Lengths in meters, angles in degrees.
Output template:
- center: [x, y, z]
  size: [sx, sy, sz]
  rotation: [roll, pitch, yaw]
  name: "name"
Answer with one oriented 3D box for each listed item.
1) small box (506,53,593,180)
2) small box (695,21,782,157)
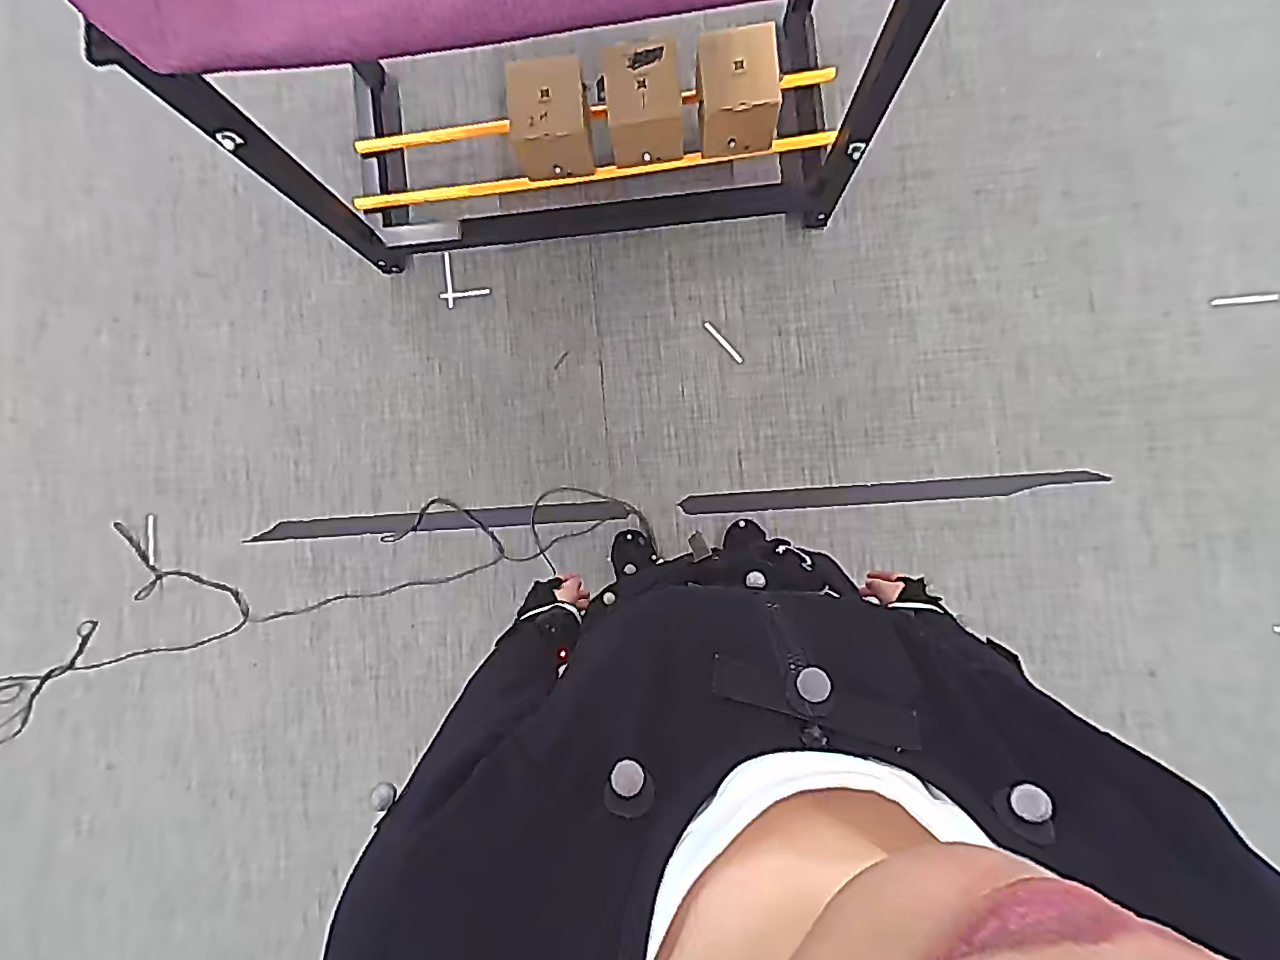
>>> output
- center: [-0.203, -0.828, 1.246]
  size: [0.168, 0.176, 0.179]
  rotation: [-4, 90, 3]
  name: "small box"
- center: [0.215, -0.870, 1.218]
  size: [0.168, 0.176, 0.179]
  rotation: [-6, 89, 4]
  name: "small box"
